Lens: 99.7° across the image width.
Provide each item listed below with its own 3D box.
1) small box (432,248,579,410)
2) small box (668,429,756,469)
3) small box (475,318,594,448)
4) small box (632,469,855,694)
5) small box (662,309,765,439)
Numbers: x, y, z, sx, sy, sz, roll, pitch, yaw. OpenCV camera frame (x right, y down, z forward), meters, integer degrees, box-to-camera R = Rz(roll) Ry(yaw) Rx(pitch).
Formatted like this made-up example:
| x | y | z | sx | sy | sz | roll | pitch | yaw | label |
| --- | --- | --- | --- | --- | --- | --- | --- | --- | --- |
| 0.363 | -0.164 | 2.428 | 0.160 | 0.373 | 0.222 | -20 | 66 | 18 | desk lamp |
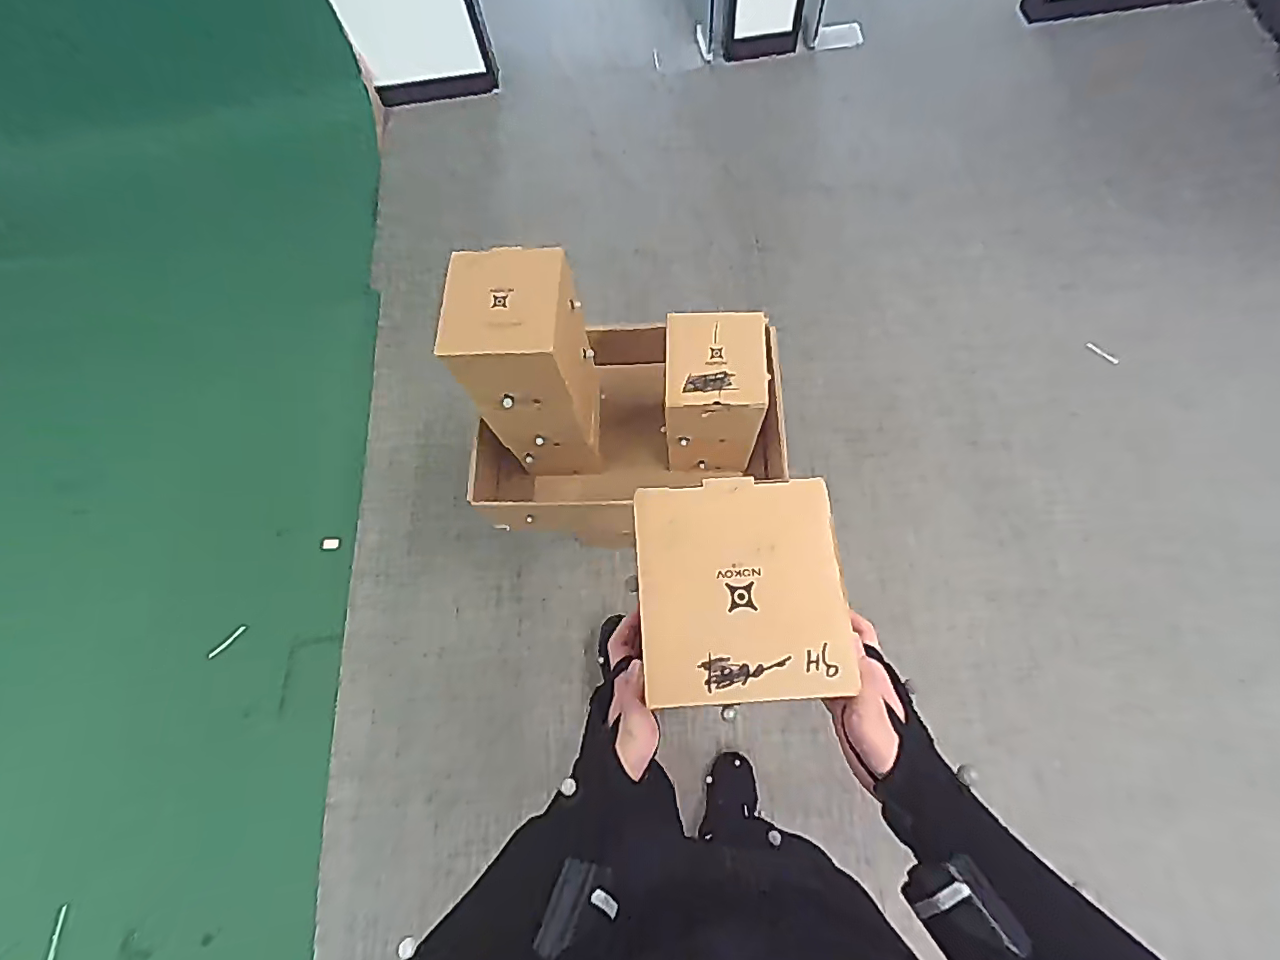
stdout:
| x | y | z | sx | sy | sz | roll | pitch | yaw | label |
| --- | --- | --- | --- | --- | --- | --- | --- | --- | --- |
| -0.190 | -0.222 | 0.822 | 0.168 | 0.176 | 0.179 | 0 | 71 | 6 | small box |
| 0.140 | -0.133 | 1.113 | 0.168 | 0.176 | 0.179 | -1 | 72 | 4 | small box |
| -0.179 | -0.171 | 0.977 | 0.168 | 0.176 | 0.179 | 0 | 72 | 5 | small box |
| 0.079 | 0.102 | 0.509 | 0.168 | 0.176 | 0.179 | -4 | 71 | 1 | small box |
| 0.126 | -0.178 | 0.955 | 0.168 | 0.176 | 0.179 | 0 | 72 | 4 | small box |
